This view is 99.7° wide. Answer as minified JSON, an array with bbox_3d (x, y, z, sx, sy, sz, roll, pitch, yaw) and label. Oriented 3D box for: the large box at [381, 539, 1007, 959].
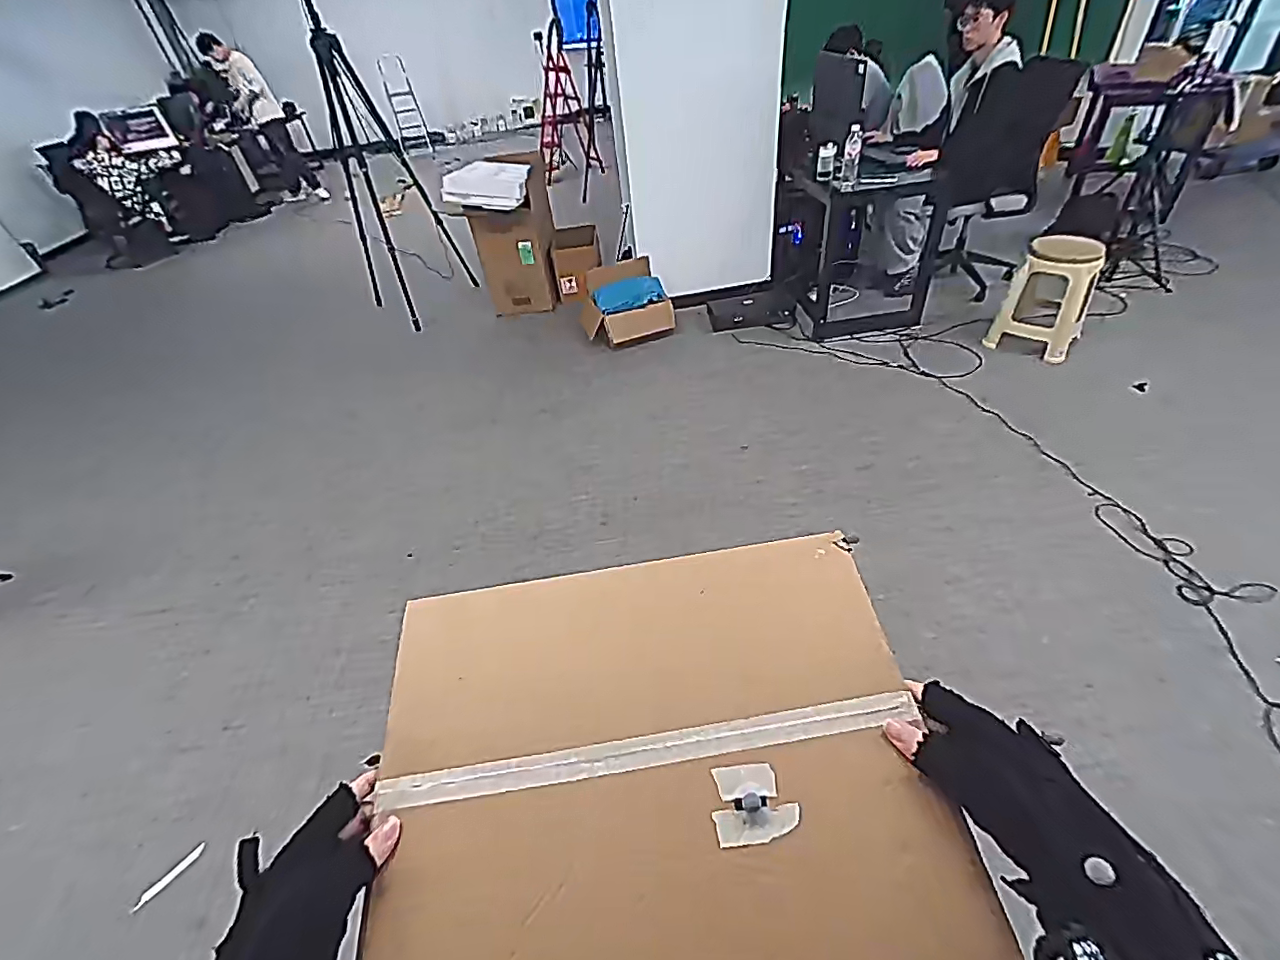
[{"bbox_3d":[0.022,0.298,0.533,0.408,0.320,0.320,-9,53,-1],"label":"large box"}]
